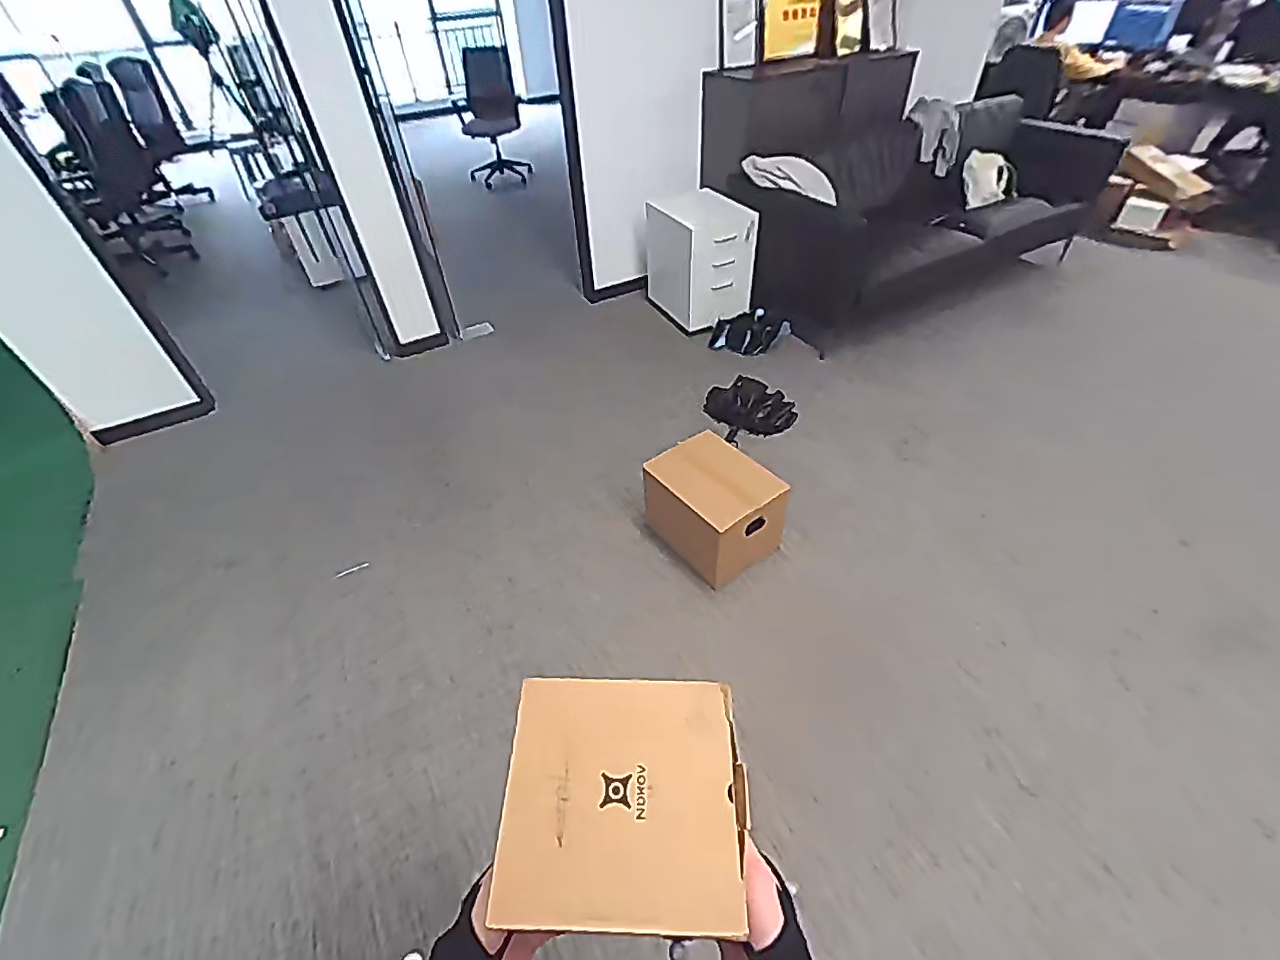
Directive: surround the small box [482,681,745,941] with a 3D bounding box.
[{"bbox_3d":[-0.015,0.284,0.465,0.179,0.176,0.168,-1,50,2],"label":"small box"}]
